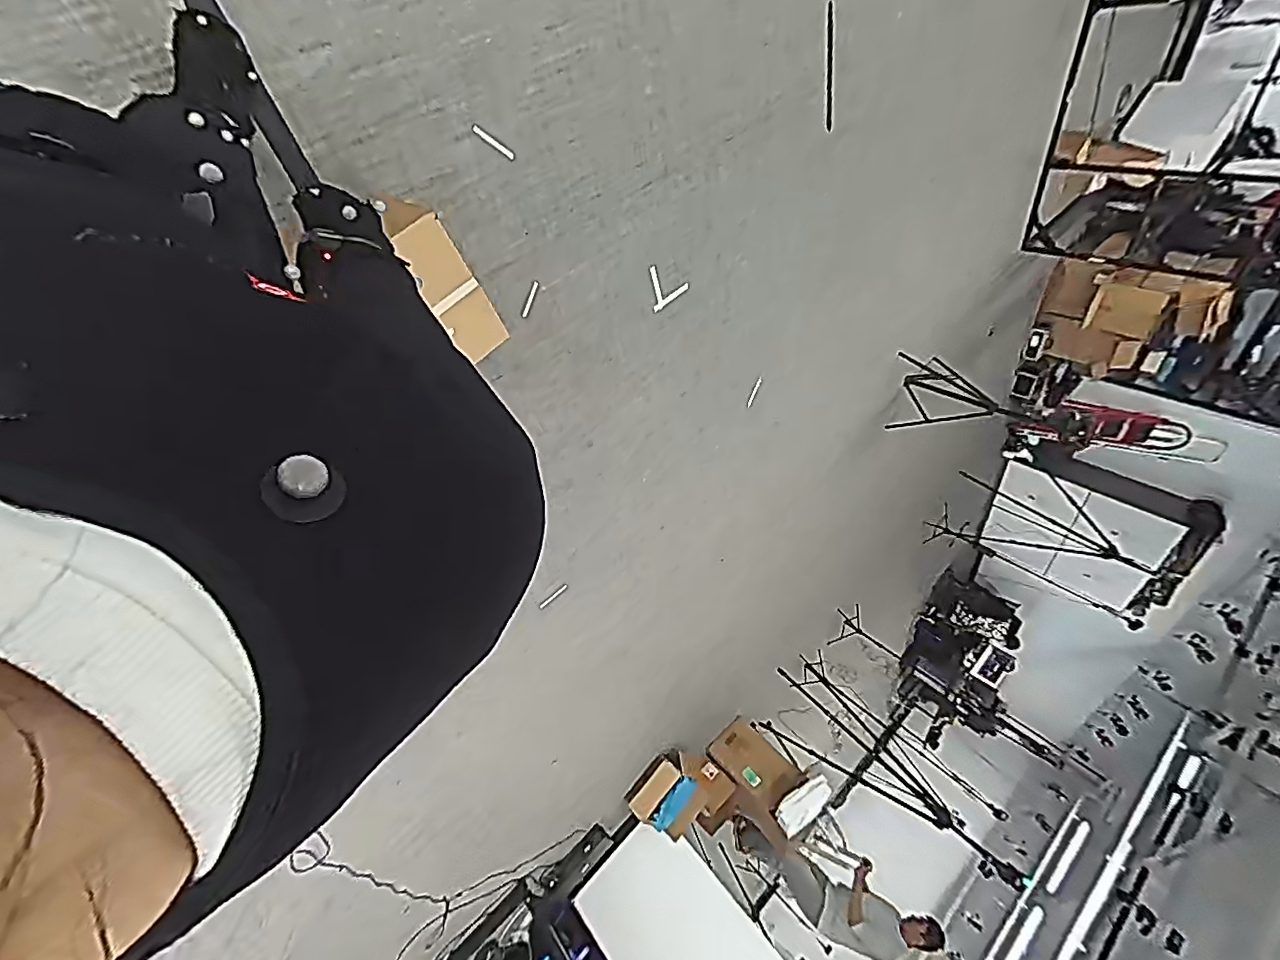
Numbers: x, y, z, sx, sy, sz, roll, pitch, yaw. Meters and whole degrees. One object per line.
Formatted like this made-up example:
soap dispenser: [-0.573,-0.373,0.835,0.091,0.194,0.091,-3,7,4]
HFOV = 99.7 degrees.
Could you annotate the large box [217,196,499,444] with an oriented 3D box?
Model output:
large box: [-0.605,-0.361,1.190,0.408,0.320,0.320,-45,141,-16]
